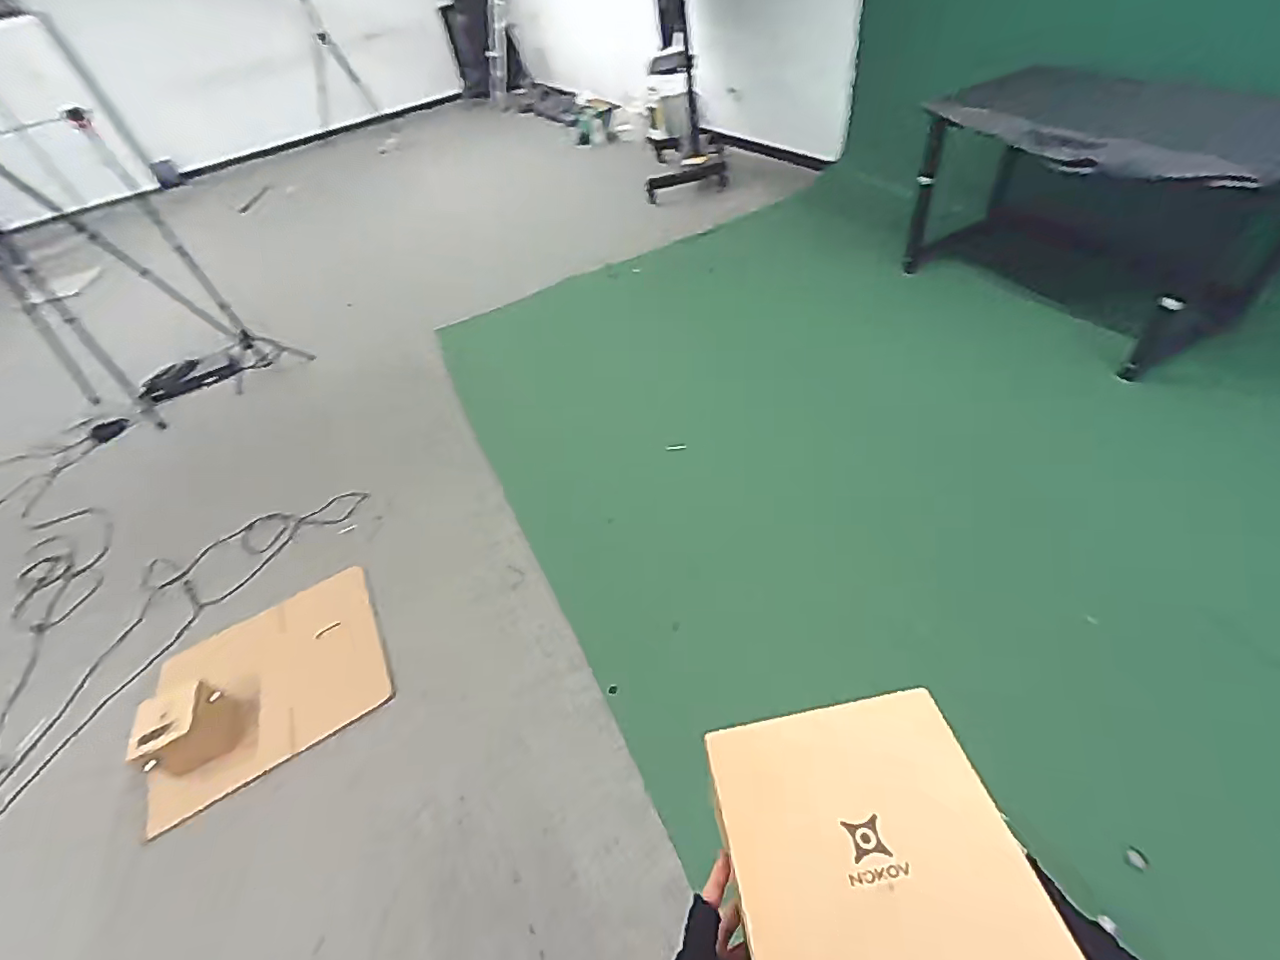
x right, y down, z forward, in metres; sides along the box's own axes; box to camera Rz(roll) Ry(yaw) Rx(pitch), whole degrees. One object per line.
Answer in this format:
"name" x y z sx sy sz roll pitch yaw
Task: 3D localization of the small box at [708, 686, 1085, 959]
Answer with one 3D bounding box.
"small box" 0.148 0.278 0.375 0.168 0.176 0.179 -12 40 -1
